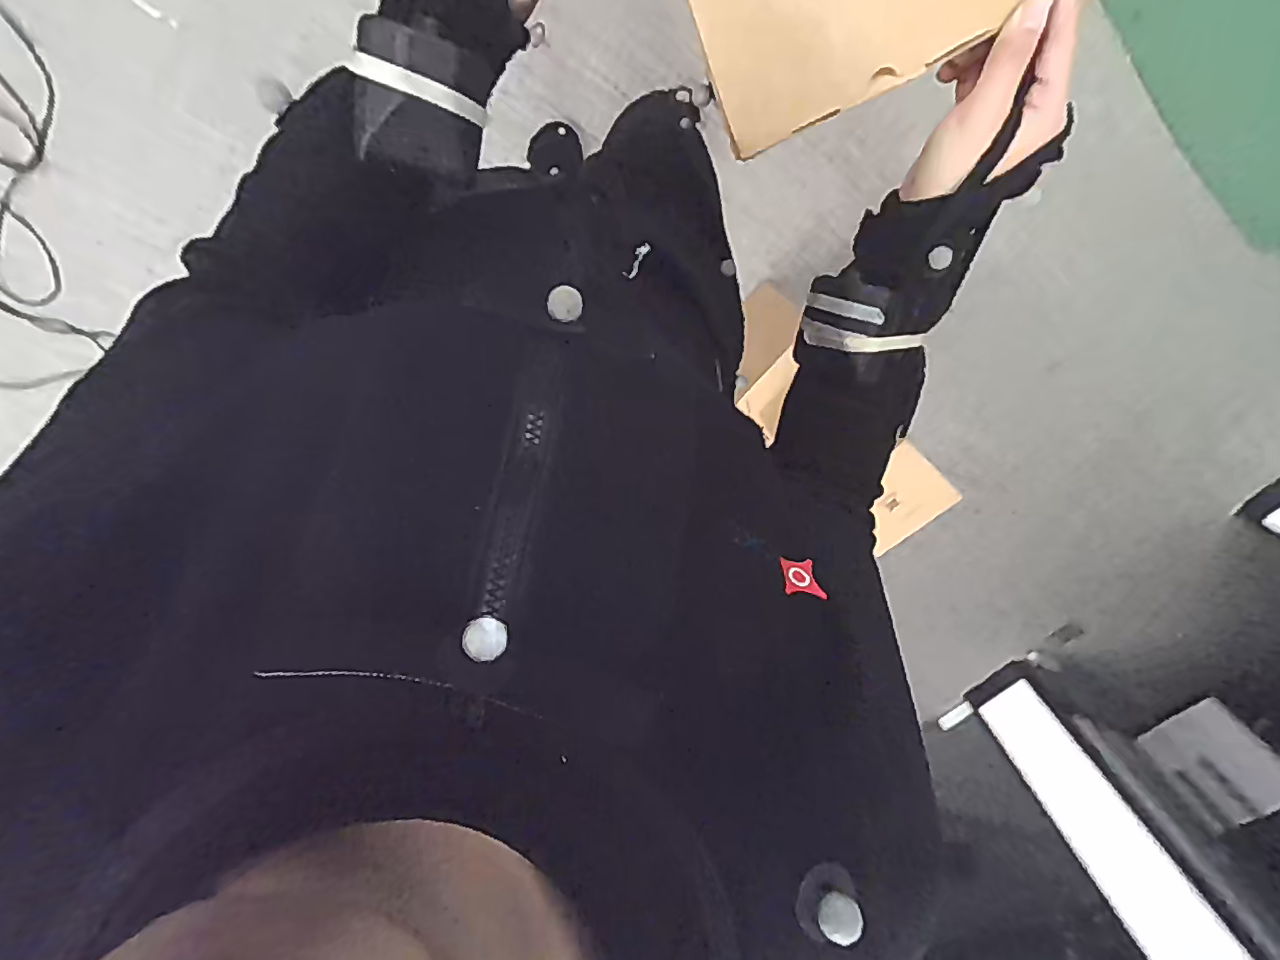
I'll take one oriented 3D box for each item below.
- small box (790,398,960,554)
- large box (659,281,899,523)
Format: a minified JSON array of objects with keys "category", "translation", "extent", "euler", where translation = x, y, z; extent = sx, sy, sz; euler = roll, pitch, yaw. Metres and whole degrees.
[{"category":"small box","translation":[0.384,-0.013,0.913],"extent":[0.179,0.176,0.168],"euler":[33,117,-28]},{"category":"large box","translation":[0.301,-0.183,1.284],"extent":[0.320,0.320,0.408],"euler":[31,117,-25]}]
